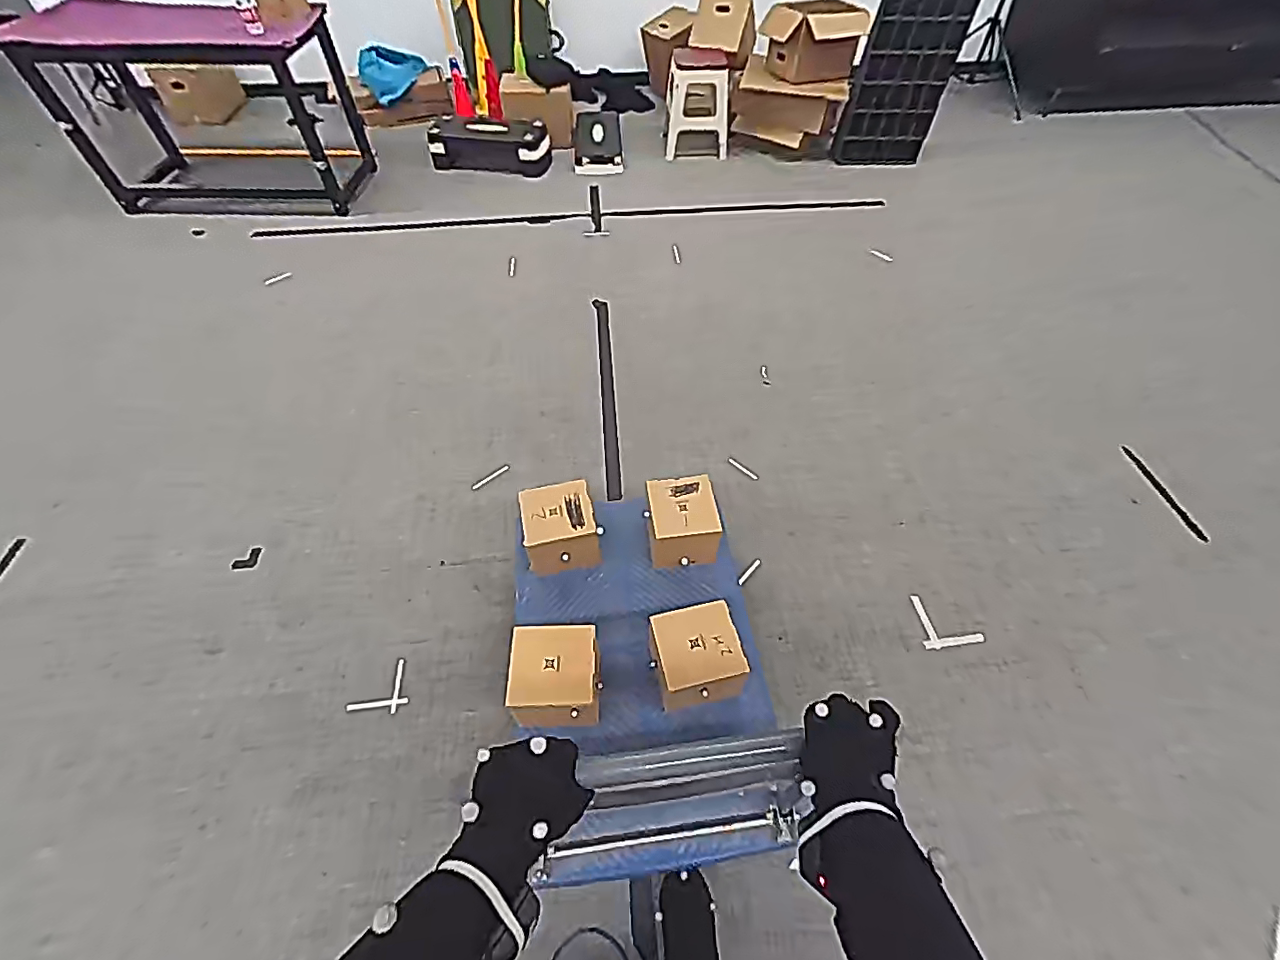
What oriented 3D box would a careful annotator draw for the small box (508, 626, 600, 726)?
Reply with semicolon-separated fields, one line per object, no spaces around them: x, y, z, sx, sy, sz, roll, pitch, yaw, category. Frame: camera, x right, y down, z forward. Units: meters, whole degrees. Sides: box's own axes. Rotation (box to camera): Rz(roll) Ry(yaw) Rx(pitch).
-0.179;0.432;1.183;0.179;0.176;0.168;0;52;-3;small box

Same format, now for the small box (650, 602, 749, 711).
0.125;0.398;1.208;0.179;0.176;0.168;-10;53;-8;small box

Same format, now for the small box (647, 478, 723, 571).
0.111;0.118;1.422;0.168;0.176;0.179;-6;54;-4;small box
